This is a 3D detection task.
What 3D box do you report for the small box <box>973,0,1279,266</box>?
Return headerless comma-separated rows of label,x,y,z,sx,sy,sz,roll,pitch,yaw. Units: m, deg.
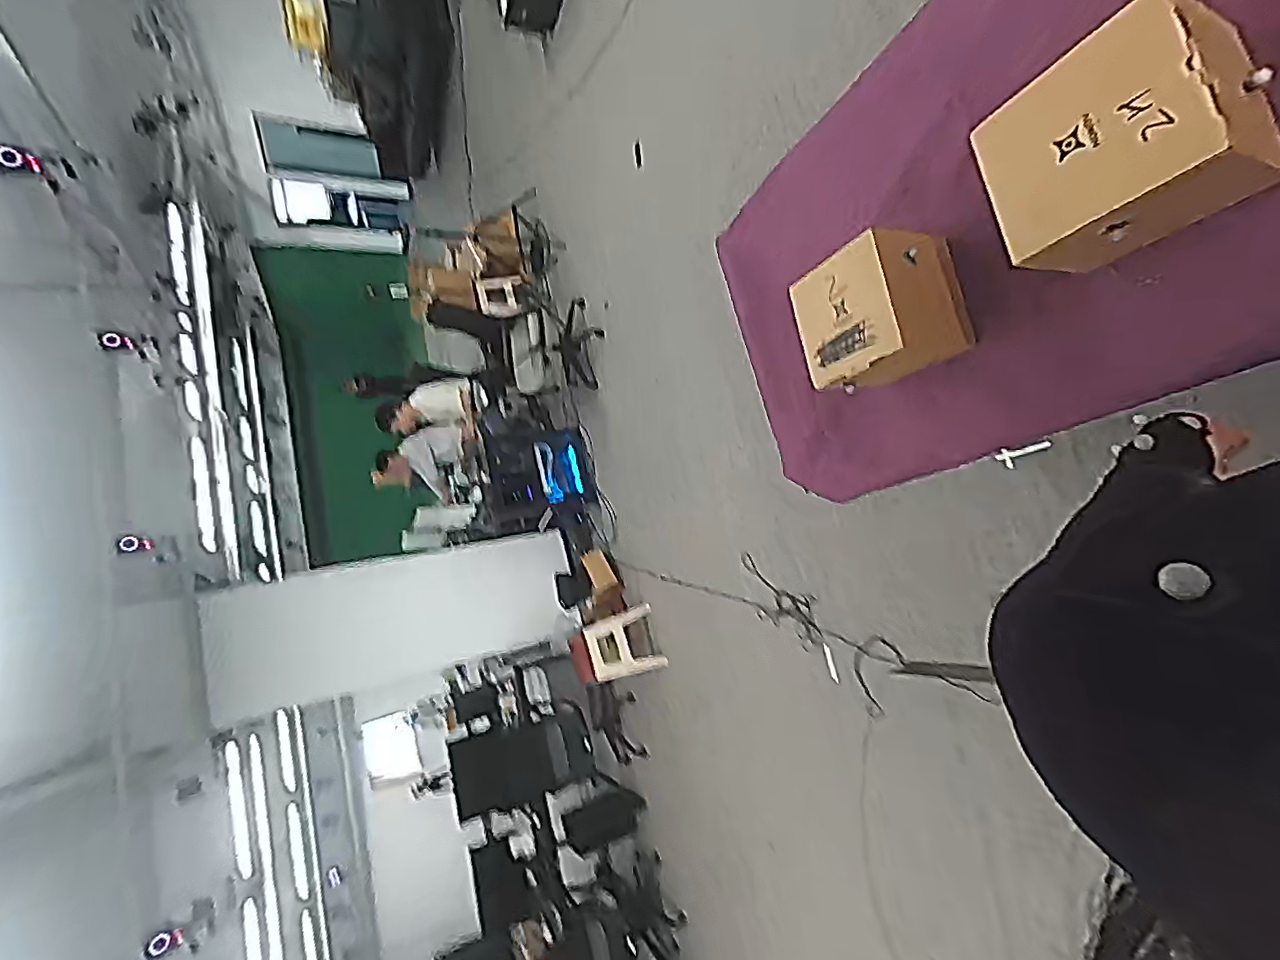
small box,0.495,-0.338,0.555,0.179,0.176,0.168,-26,74,61
